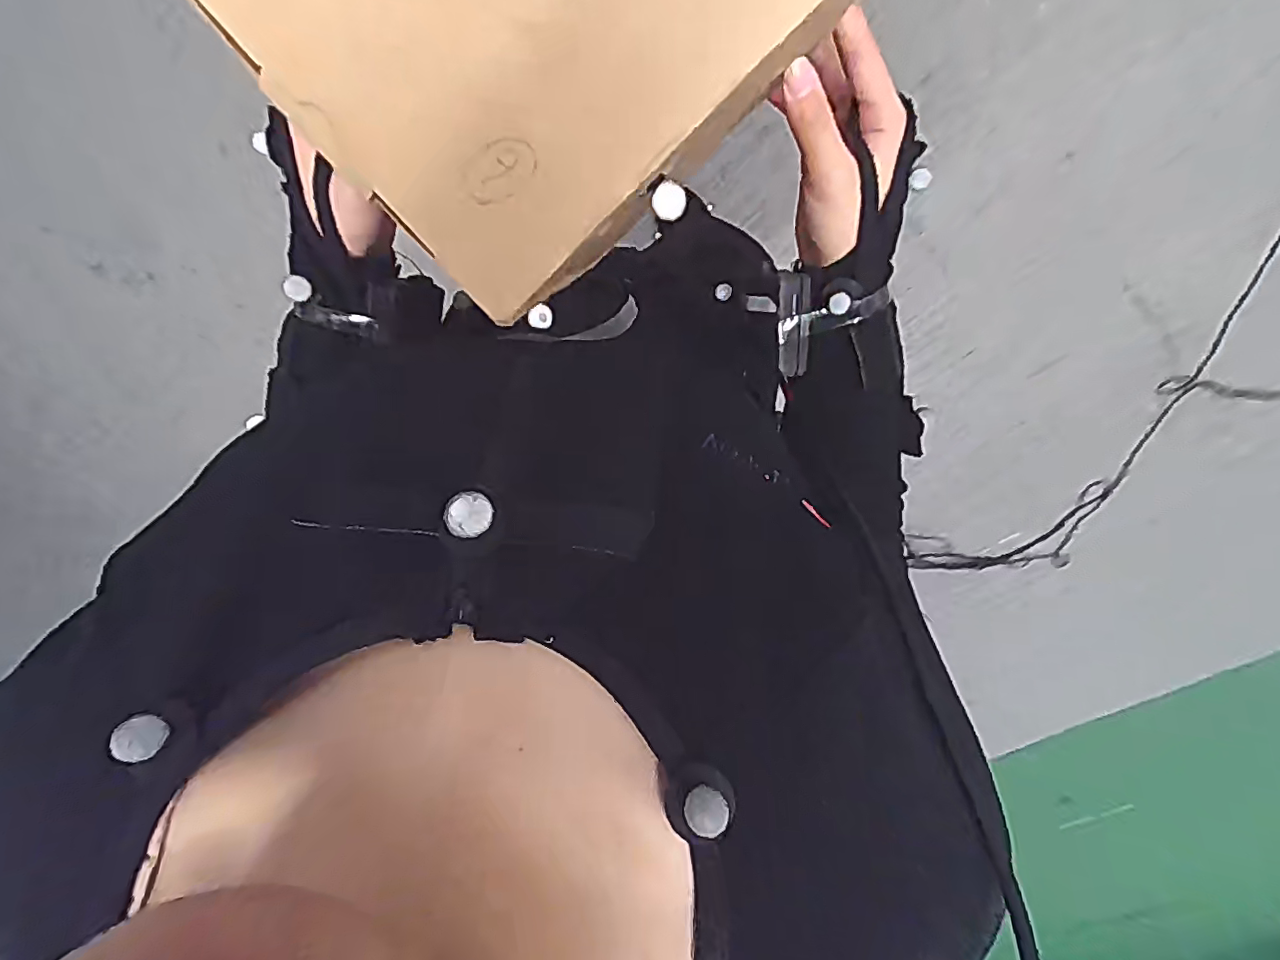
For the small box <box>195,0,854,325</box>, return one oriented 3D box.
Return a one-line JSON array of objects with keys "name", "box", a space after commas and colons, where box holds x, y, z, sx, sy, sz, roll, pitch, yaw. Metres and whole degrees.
[{"name": "small box", "box": [-0.031, -0.195, 0.219, 0.179, 0.176, 0.168, -35, 108, 22]}]
